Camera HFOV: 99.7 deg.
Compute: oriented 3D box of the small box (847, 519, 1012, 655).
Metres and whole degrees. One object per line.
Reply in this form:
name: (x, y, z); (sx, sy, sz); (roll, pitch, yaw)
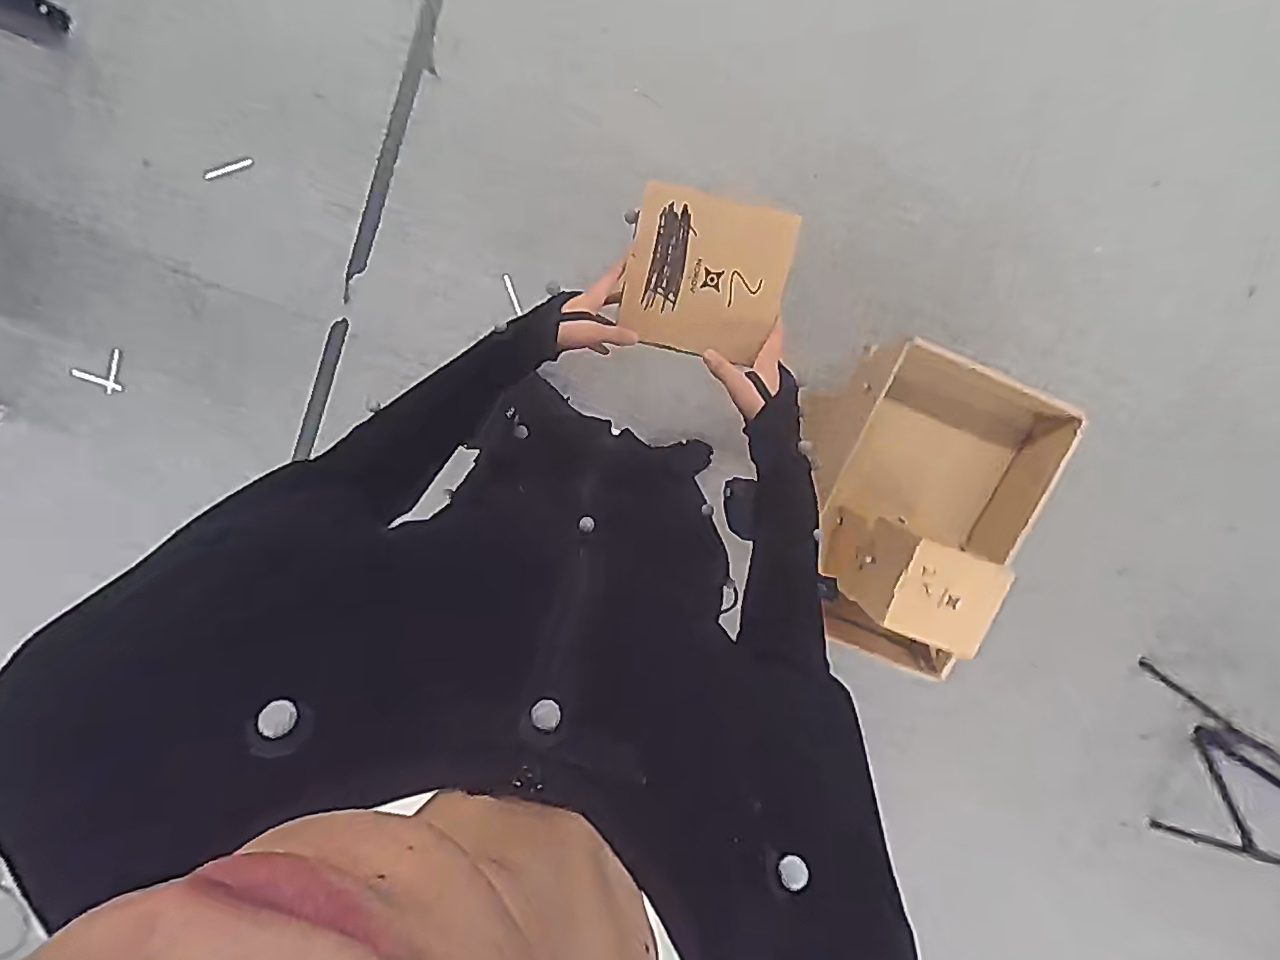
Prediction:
small box: (0.514, 0.185, 0.989); (0.179, 0.176, 0.168); (21, 99, -2)
